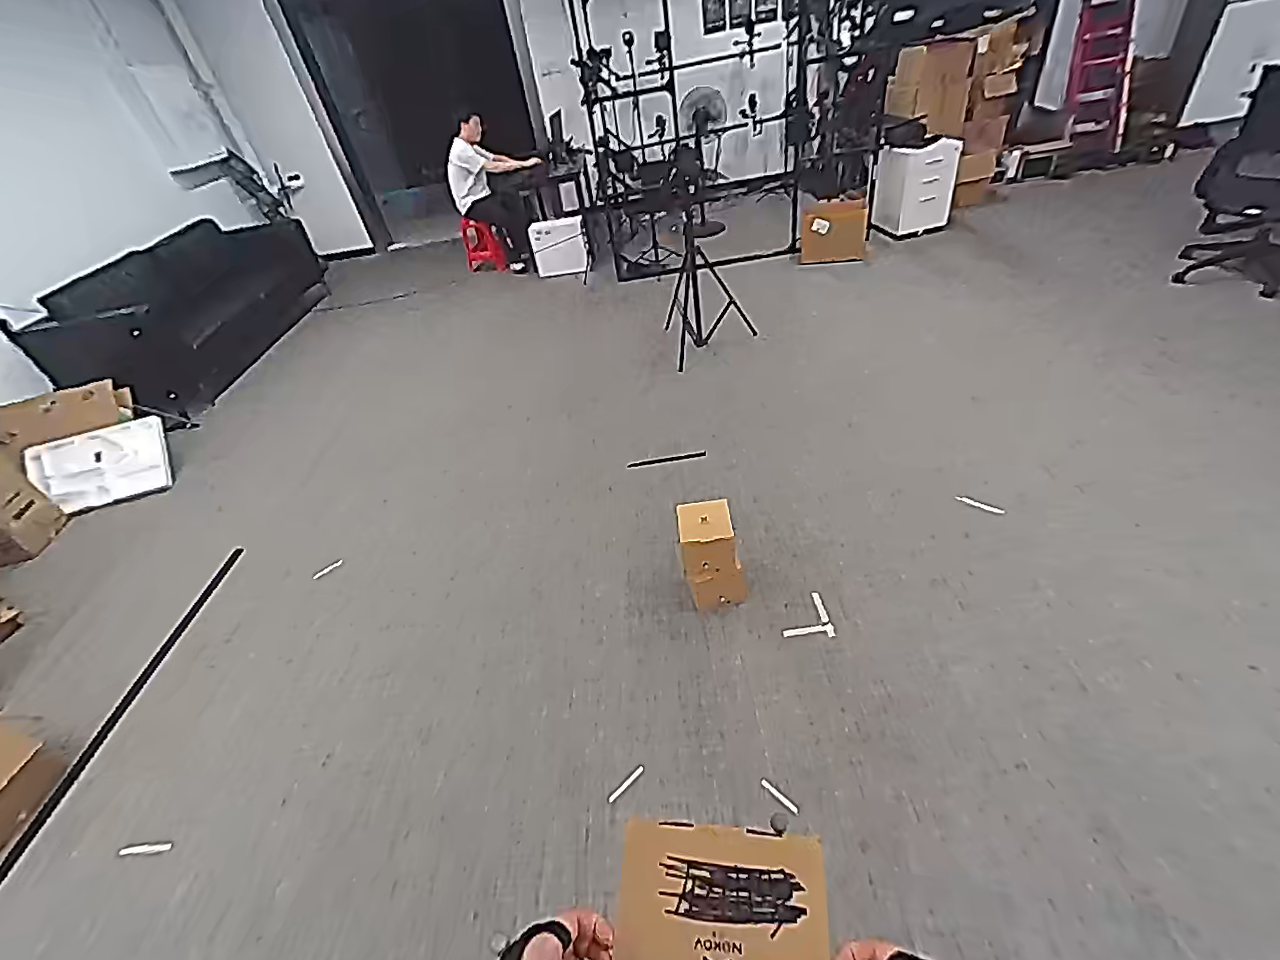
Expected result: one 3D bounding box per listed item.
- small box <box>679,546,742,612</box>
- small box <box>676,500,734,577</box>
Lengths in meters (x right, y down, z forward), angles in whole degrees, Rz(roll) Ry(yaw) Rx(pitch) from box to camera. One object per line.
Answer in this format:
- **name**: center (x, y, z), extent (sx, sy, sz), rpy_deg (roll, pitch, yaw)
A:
- **small box**: center (0.241, 0.319, 1.847), extent (0.168, 0.176, 0.179), rpy_deg (-16, 39, -5)
- **small box**: center (0.210, 0.191, 1.750), extent (0.168, 0.176, 0.179), rpy_deg (-8, 39, 4)
